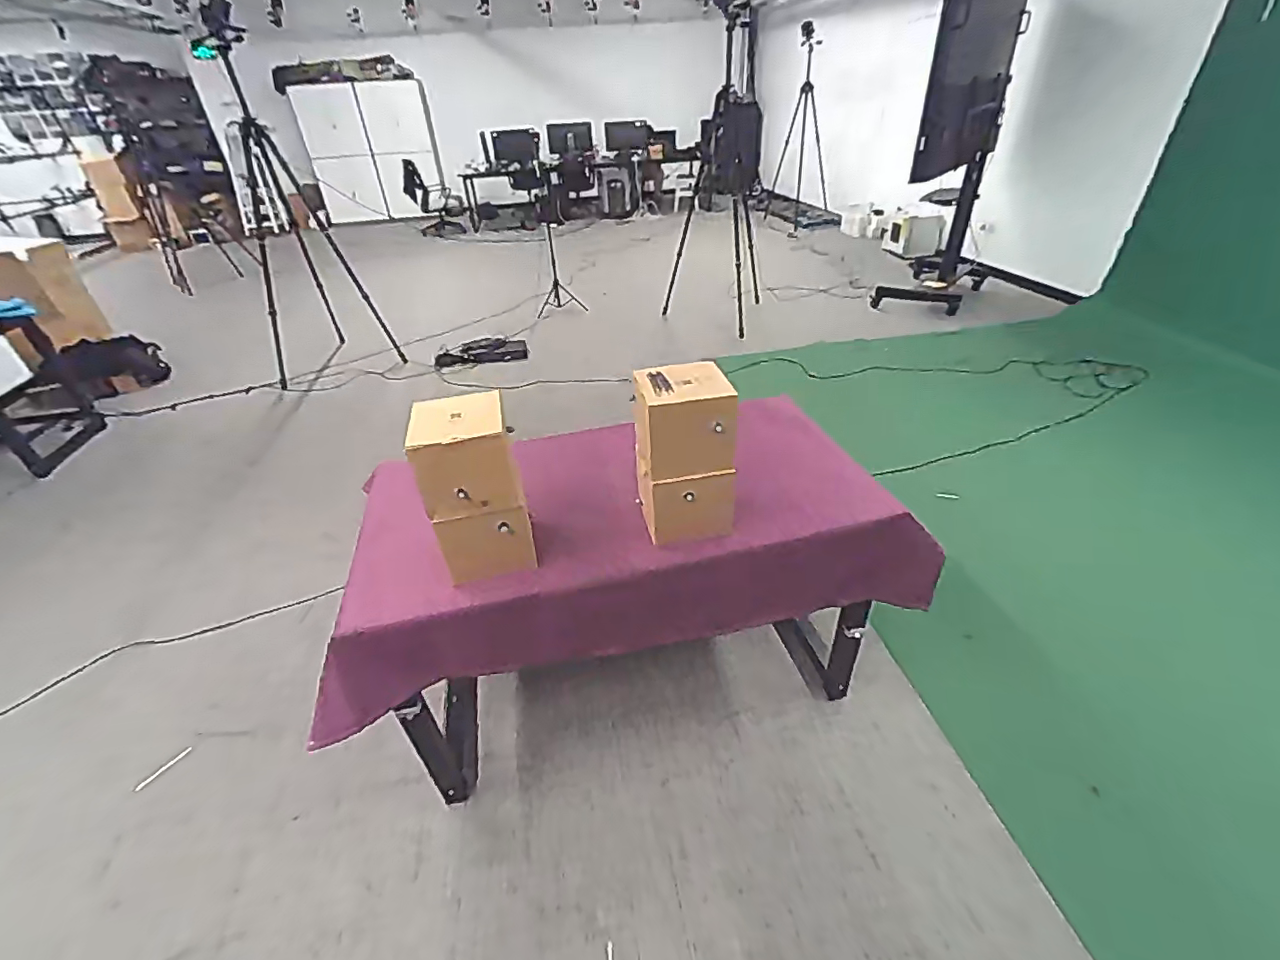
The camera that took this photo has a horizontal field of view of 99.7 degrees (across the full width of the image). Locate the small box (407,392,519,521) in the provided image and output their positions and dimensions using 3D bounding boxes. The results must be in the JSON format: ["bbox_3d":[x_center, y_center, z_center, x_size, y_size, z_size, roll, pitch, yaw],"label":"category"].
[{"bbox_3d":[-0.331,-0.047,1.037,0.168,0.176,0.179,-11,37,-10],"label":"small box"}]

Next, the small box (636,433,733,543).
[{"bbox_3d":[0.096,0.019,1.185,0.179,0.176,0.168,-9,36,-8],"label":"small box"}]

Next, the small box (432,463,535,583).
[{"bbox_3d":[-0.319,0.088,1.128,0.179,0.176,0.168,-10,35,-10],"label":"small box"}]
